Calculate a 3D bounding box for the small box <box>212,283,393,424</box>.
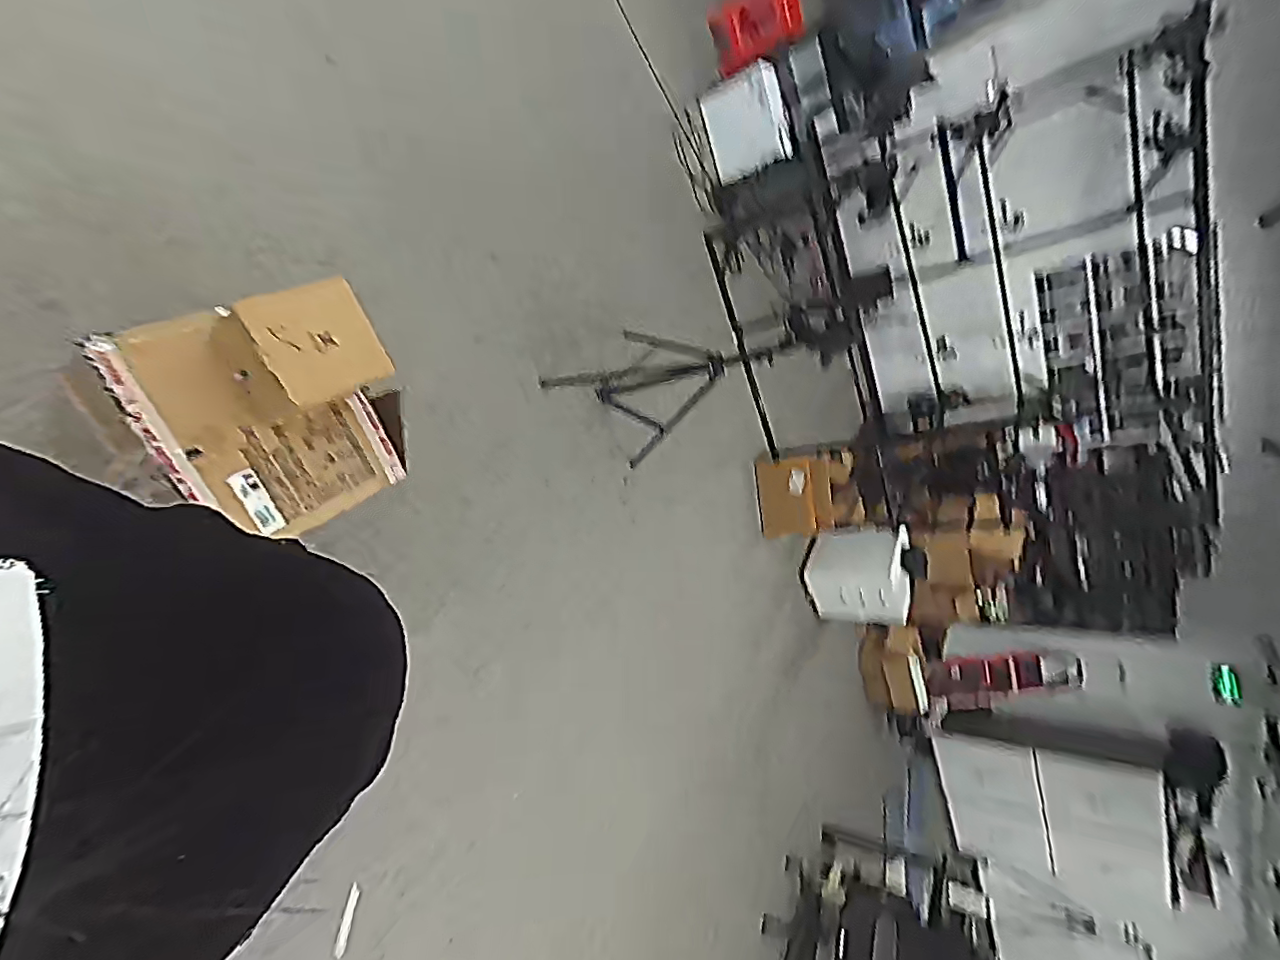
[{"bbox_3d":[-0.559,-0.207,0.898,0.179,0.176,0.168,-39,113,-44],"label":"small box"}]
